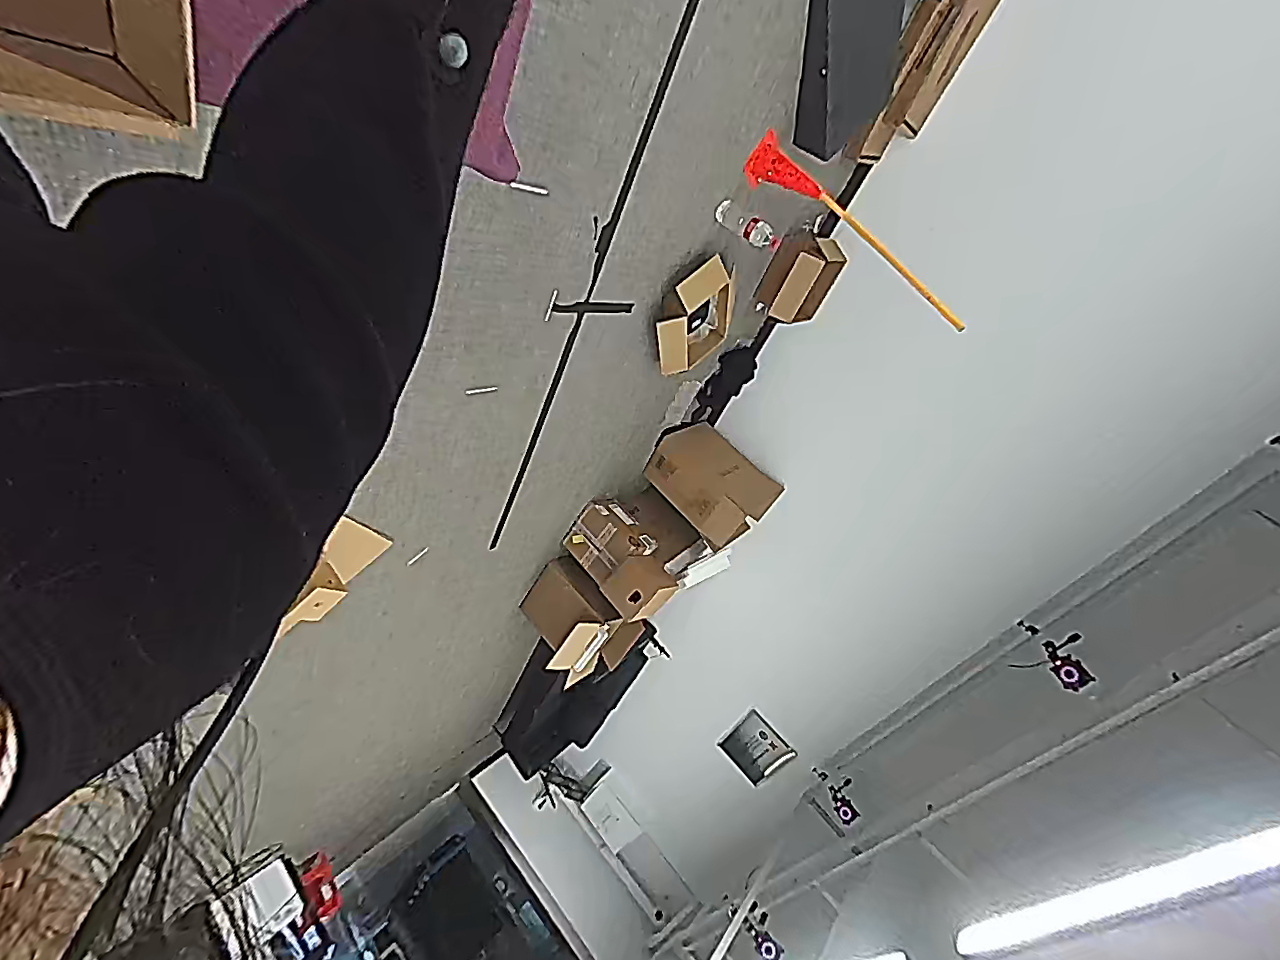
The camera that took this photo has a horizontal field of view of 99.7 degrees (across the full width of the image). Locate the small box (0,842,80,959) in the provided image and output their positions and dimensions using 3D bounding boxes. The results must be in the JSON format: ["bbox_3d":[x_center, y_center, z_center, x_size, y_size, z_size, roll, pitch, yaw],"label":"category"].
[{"bbox_3d":[-1.609,1.091,1.407,0.168,0.176,0.179,-19,145,-51],"label":"small box"}]

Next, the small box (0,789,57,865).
[{"bbox_3d":[-1.717,0.979,1.460,0.168,0.176,0.179,-17,145,-53],"label":"small box"}]

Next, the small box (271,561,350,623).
[{"bbox_3d":[-1.302,0.443,2.136,0.168,0.176,0.179,-44,158,-5],"label":"small box"}]
